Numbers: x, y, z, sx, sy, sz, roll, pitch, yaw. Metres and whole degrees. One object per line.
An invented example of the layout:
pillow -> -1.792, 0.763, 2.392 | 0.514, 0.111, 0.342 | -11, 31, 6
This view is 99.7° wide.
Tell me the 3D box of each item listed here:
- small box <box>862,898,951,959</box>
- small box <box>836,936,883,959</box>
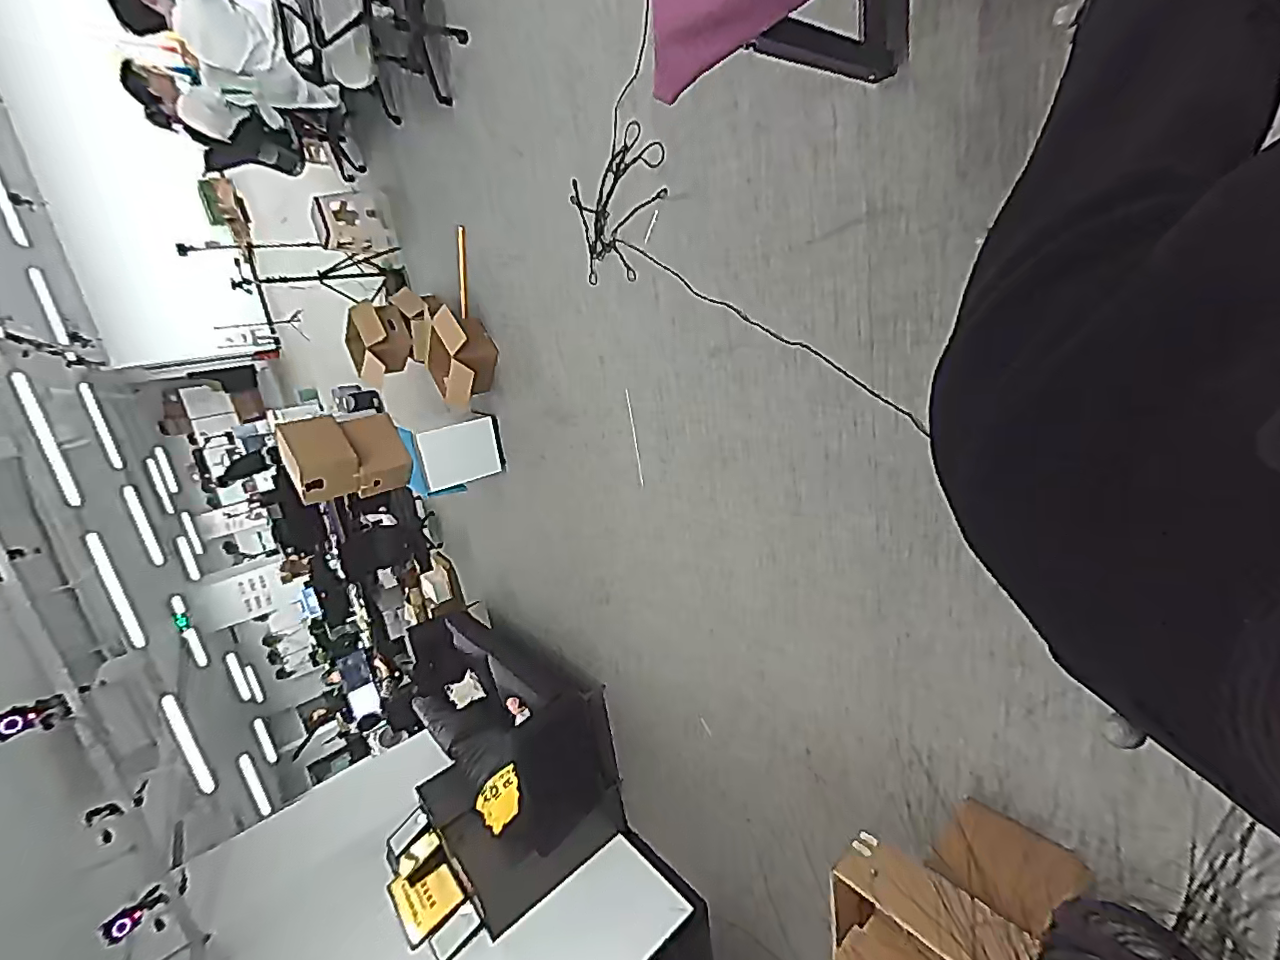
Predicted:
small box -> 0.708, 1.289, 1.451 | 0.168, 0.176, 0.179 | 20, 121, 48
small box -> 0.573, 1.327, 1.367 | 0.179, 0.176, 0.168 | 18, 119, 49
